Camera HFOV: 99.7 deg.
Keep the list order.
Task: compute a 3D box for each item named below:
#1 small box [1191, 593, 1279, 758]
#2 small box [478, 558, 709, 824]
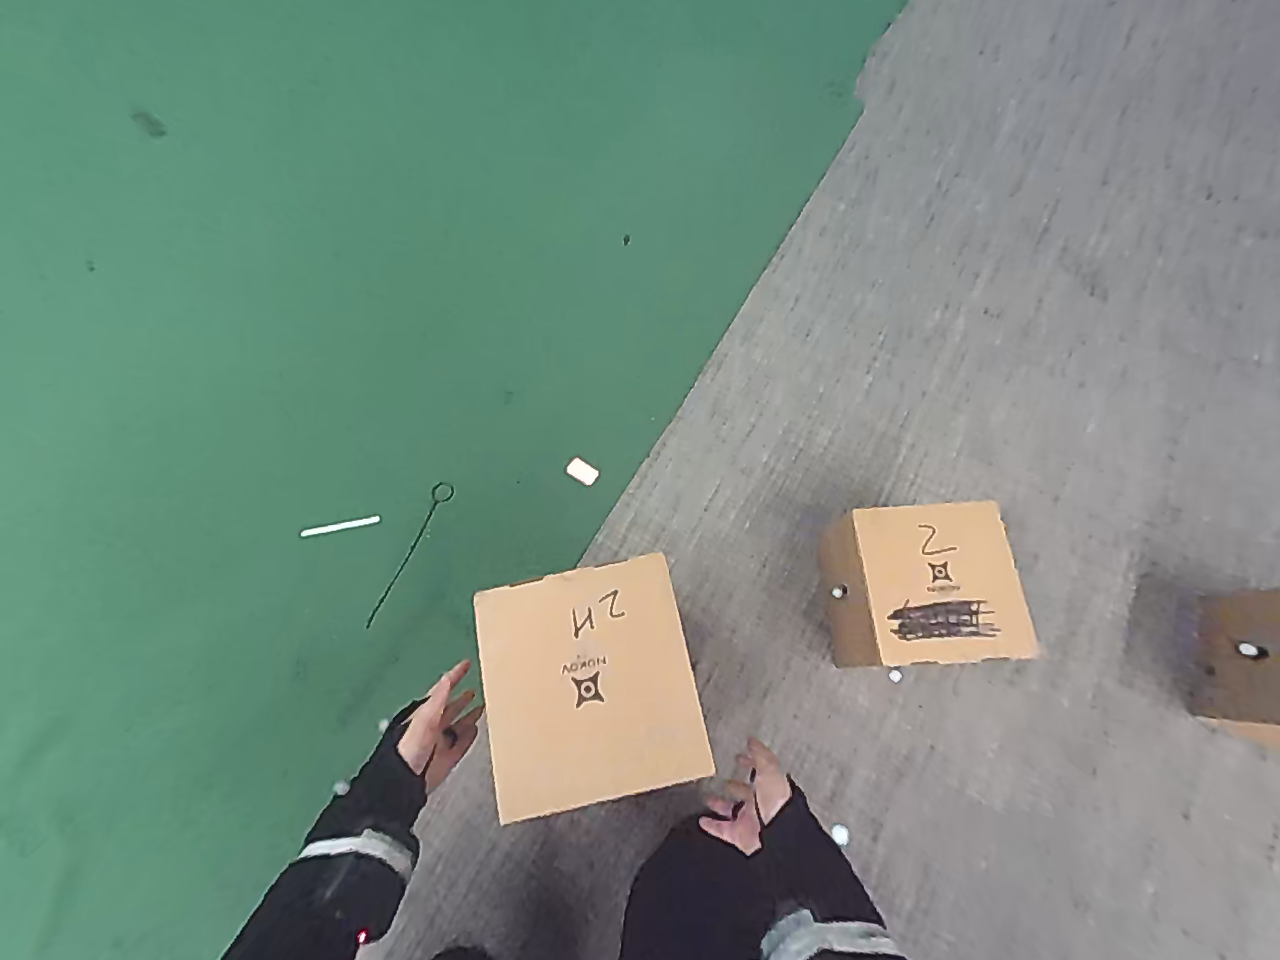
[{"bbox_3d":[0.795,0.238,0.615,0.179,0.176,0.168,22,73,11],"label":"small box"},{"bbox_3d":[-0.037,0.187,0.506,0.168,0.176,0.179,-12,70,-2],"label":"small box"}]
